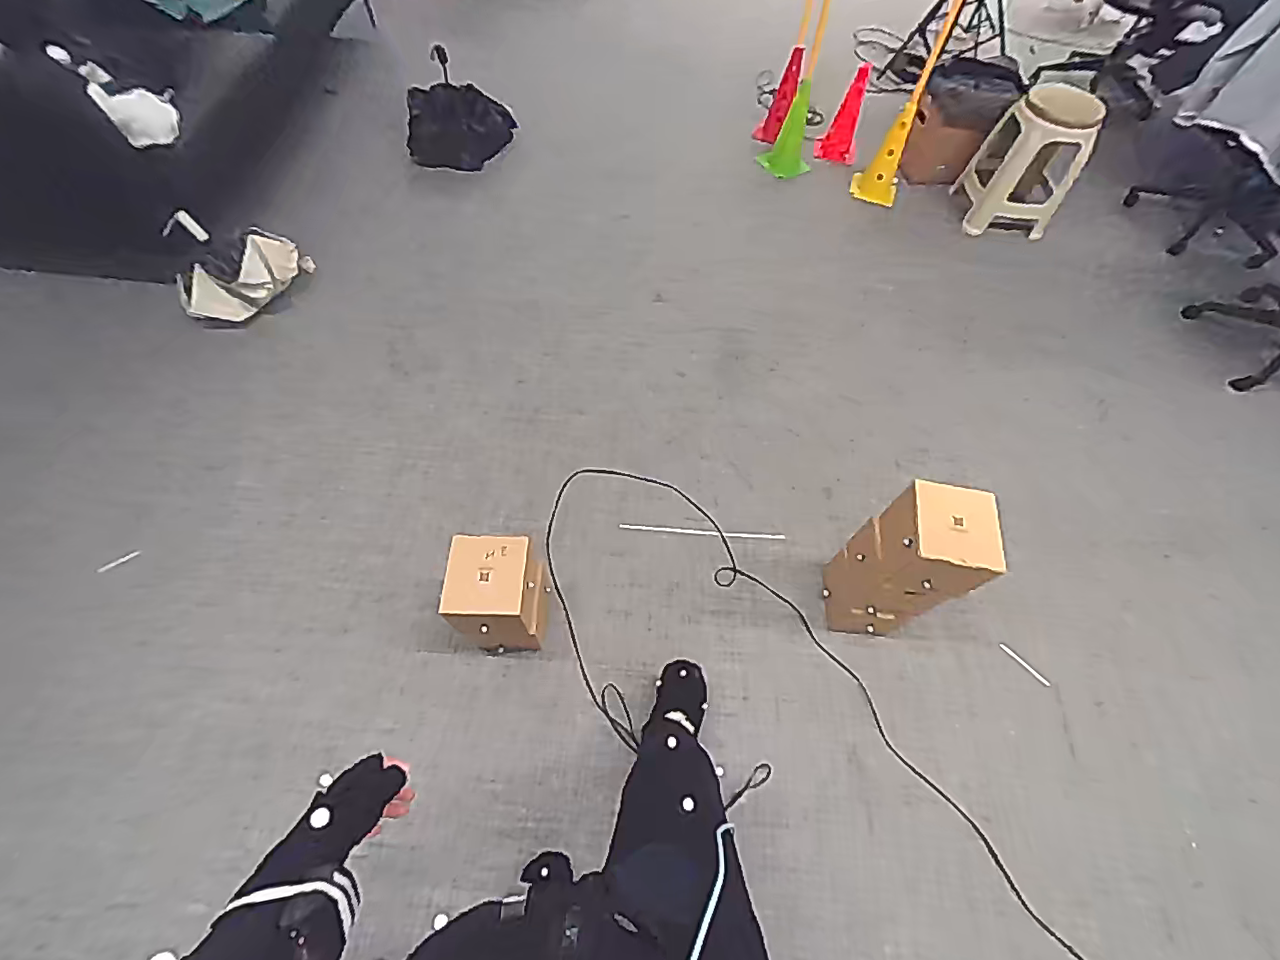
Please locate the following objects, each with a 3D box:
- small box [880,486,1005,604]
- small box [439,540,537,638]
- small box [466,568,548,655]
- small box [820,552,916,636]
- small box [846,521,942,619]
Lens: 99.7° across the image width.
[{"bbox_3d":[0.619,0.140,1.132,0.168,0.176,0.179,11,61,3],"label":"small box"},{"bbox_3d":[-0.327,0.248,1.204,0.168,0.176,0.179,2,60,-2],"label":"small box"},{"bbox_3d":[-0.324,0.327,1.348,0.168,0.176,0.179,2,61,-2],"label":"small box"},{"bbox_3d":[0.588,0.303,1.416,0.168,0.176,0.179,5,62,-4],"label":"small box"},{"bbox_3d":[0.602,0.218,1.274,0.168,0.176,0.179,6,59,0],"label":"small box"}]
